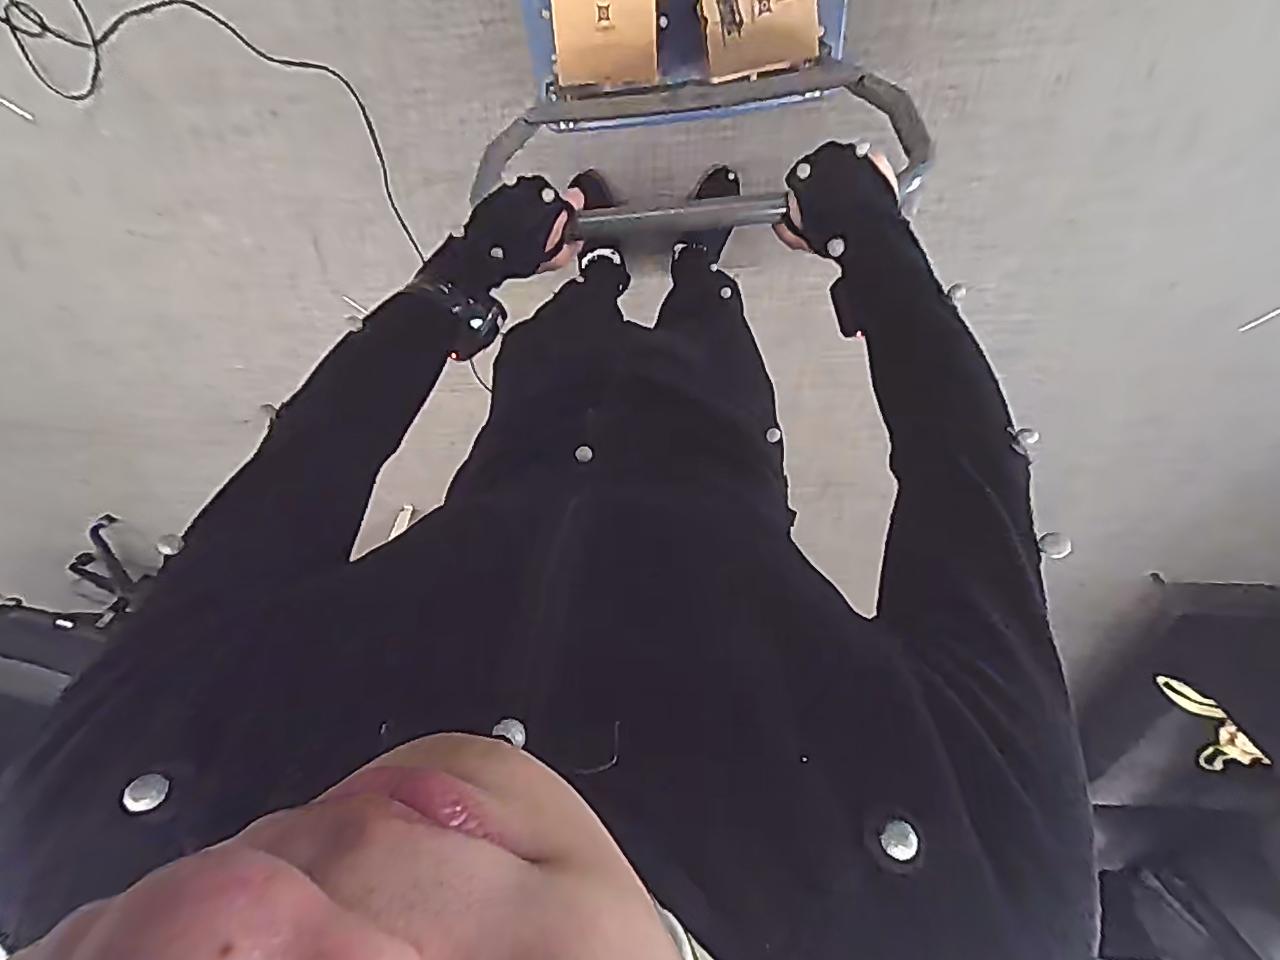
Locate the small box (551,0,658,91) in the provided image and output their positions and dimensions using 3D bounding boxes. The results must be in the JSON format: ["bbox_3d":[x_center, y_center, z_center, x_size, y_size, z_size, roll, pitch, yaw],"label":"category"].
[{"bbox_3d":[-0.055,-0.774,0.917,0.168,0.176,0.179,0,130,3],"label":"small box"}]
